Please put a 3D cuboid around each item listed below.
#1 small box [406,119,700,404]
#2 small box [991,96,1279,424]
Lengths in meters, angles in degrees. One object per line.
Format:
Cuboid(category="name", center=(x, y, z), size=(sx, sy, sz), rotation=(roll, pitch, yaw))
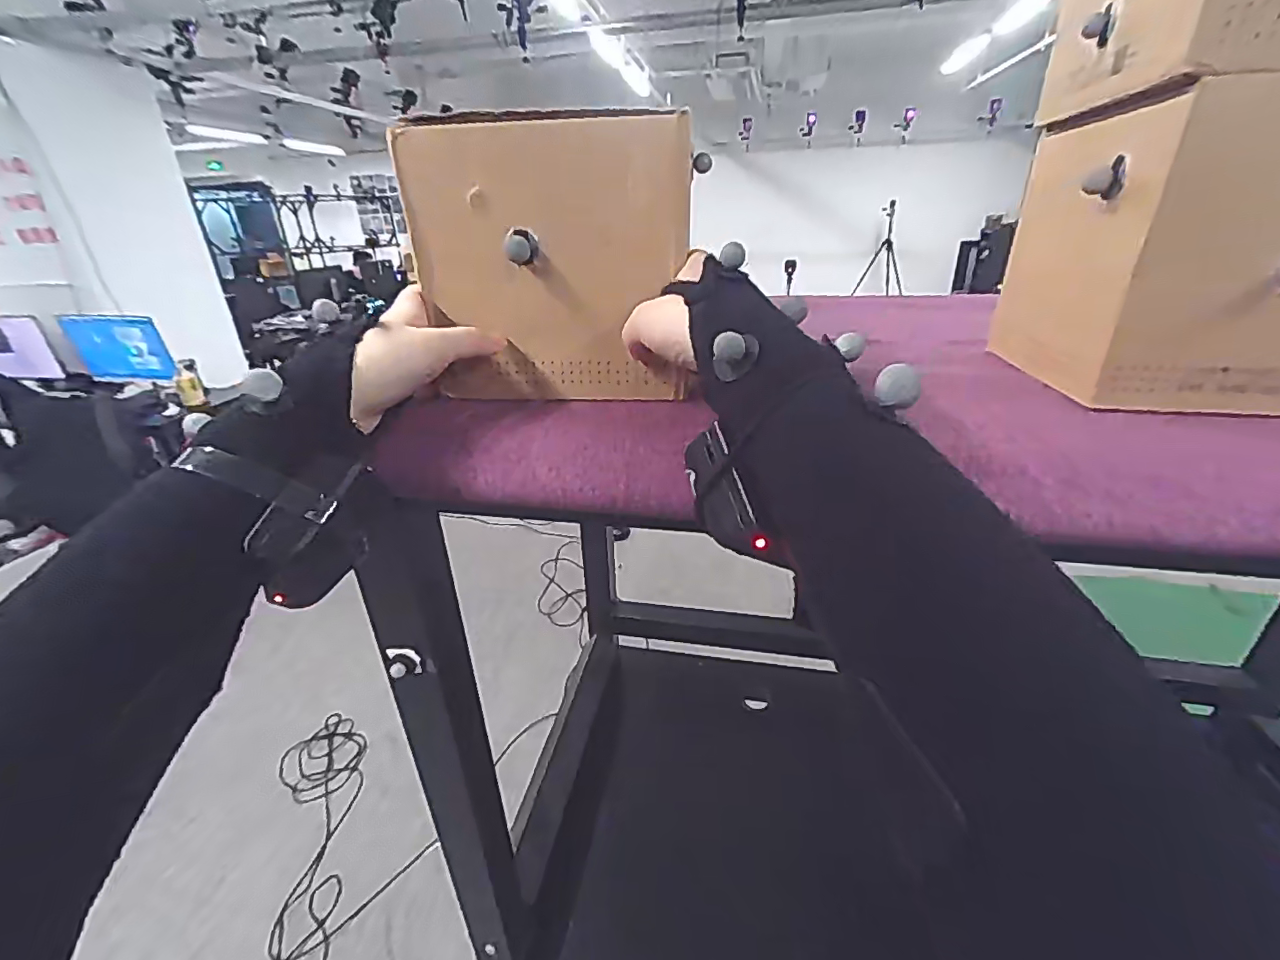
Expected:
Cuboid(category="small box", center=(-0.043, -0.162, 0.416), size=(0.179, 0.176, 0.168), rotation=(1, 28, 5))
Cuboid(category="small box", center=(0.370, -0.141, 0.359), size=(0.168, 0.176, 0.179), rotation=(5, 26, 11))
